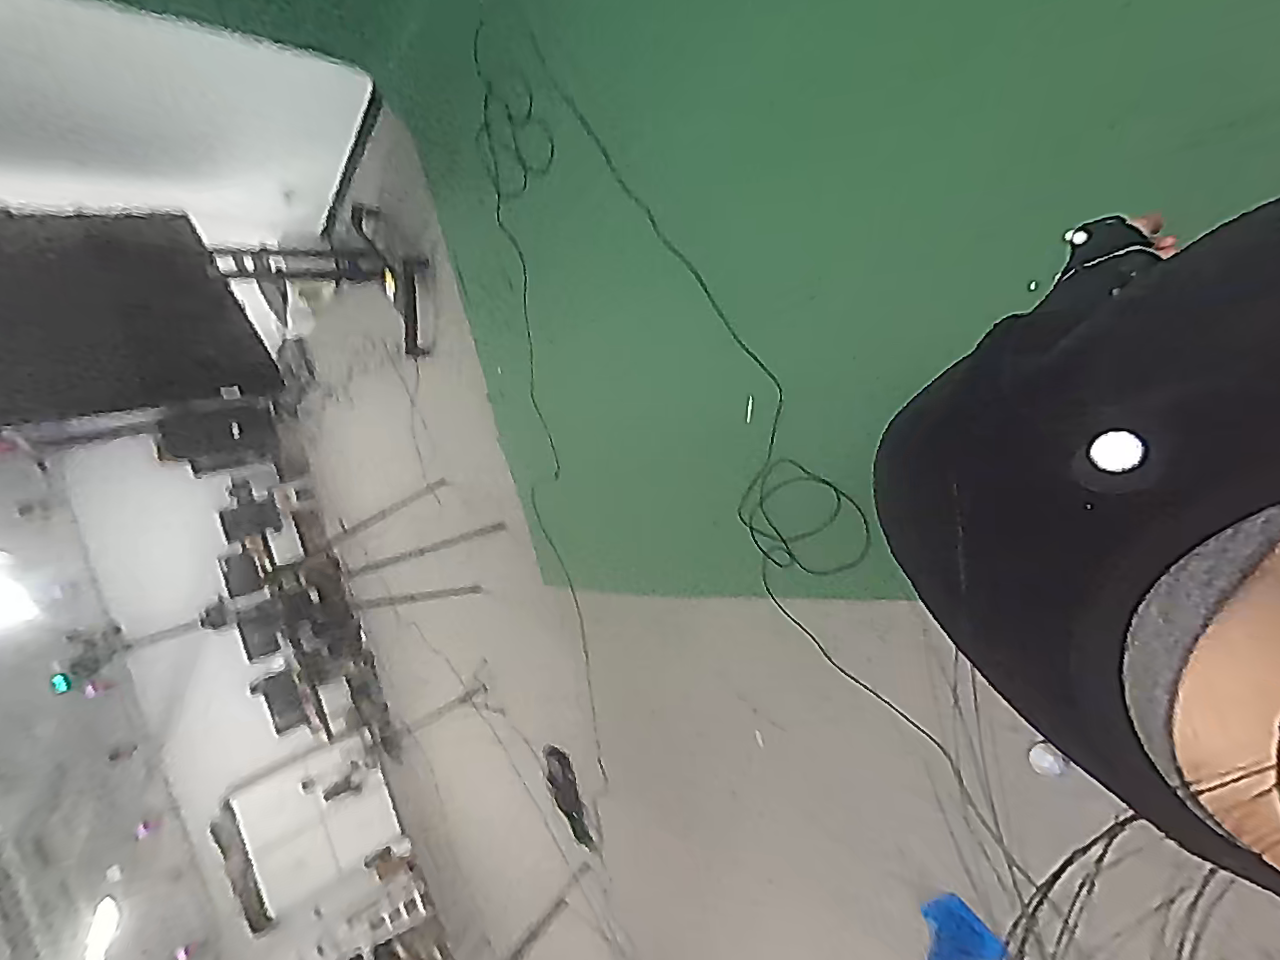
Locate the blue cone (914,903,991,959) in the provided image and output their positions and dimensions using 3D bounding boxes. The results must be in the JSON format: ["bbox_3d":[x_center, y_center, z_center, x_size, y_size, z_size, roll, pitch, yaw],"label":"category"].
[{"bbox_3d":[0.880,1.513,1.622,0.192,0.380,0.193,41,132,28],"label":"blue cone"}]
